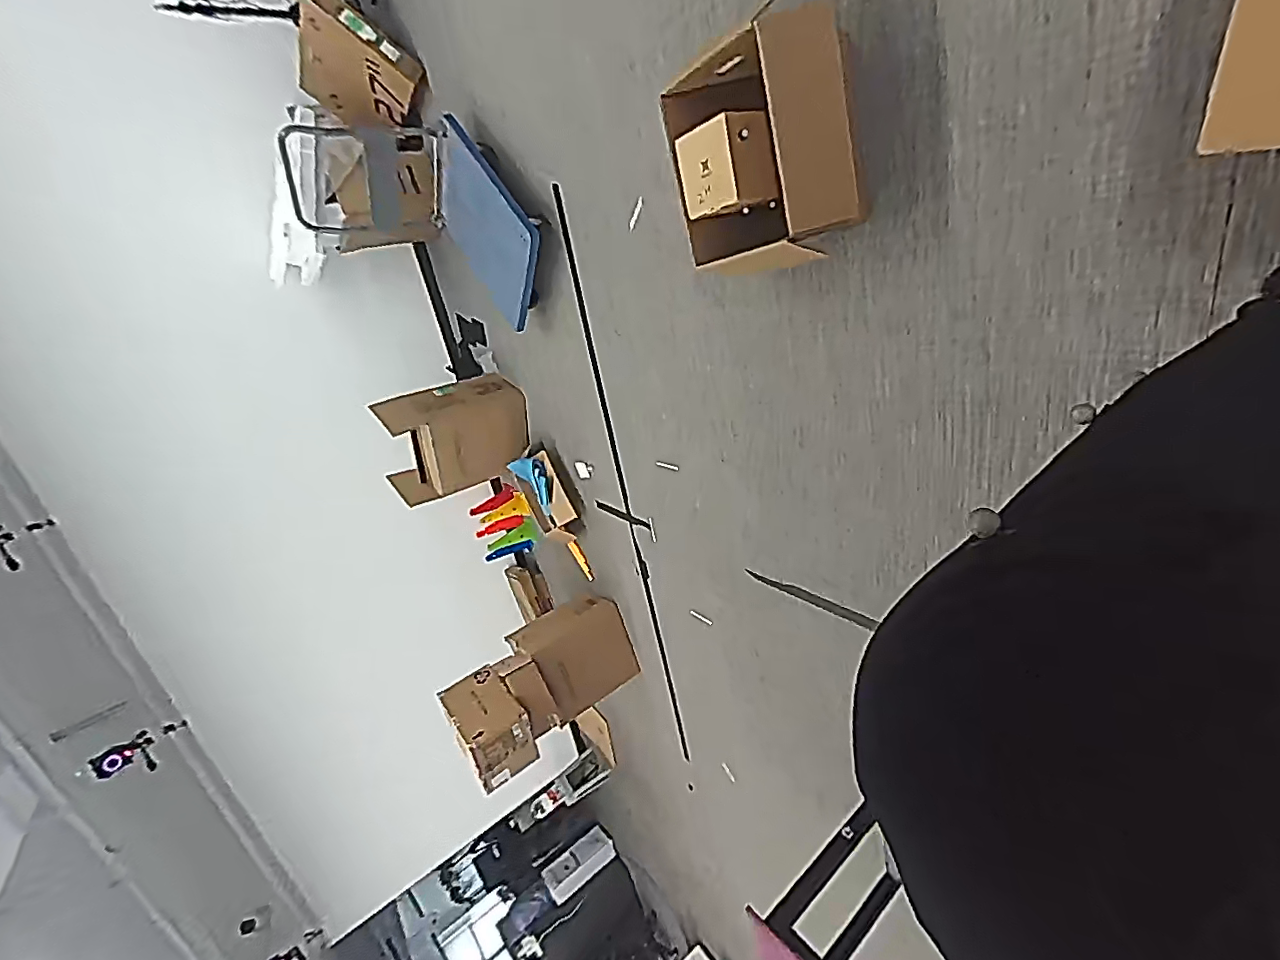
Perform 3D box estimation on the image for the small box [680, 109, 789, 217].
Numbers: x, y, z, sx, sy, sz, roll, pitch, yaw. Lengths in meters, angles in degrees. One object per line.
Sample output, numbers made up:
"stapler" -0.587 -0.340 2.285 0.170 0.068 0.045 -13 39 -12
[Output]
"small box" 0.221 -0.730 1.251 0.168 0.176 0.179 14 124 54
